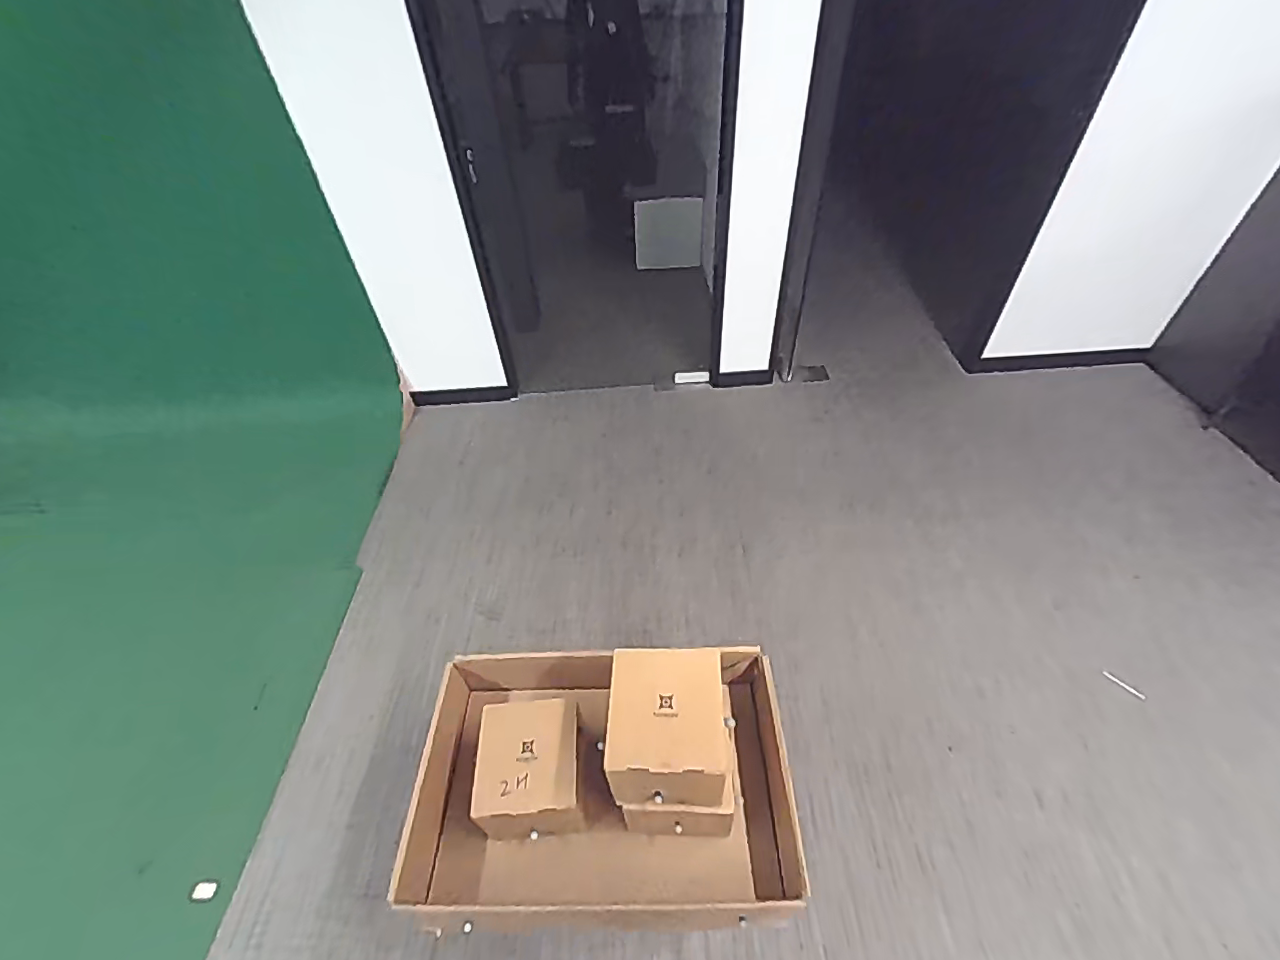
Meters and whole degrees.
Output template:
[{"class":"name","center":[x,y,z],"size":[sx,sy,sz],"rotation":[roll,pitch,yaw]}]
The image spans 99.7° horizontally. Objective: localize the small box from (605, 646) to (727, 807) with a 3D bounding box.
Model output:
[{"class":"small box","center":[0.041,0.376,0.829],"size":[0.168,0.176,0.179],"rotation":[-1,45,4]}]
